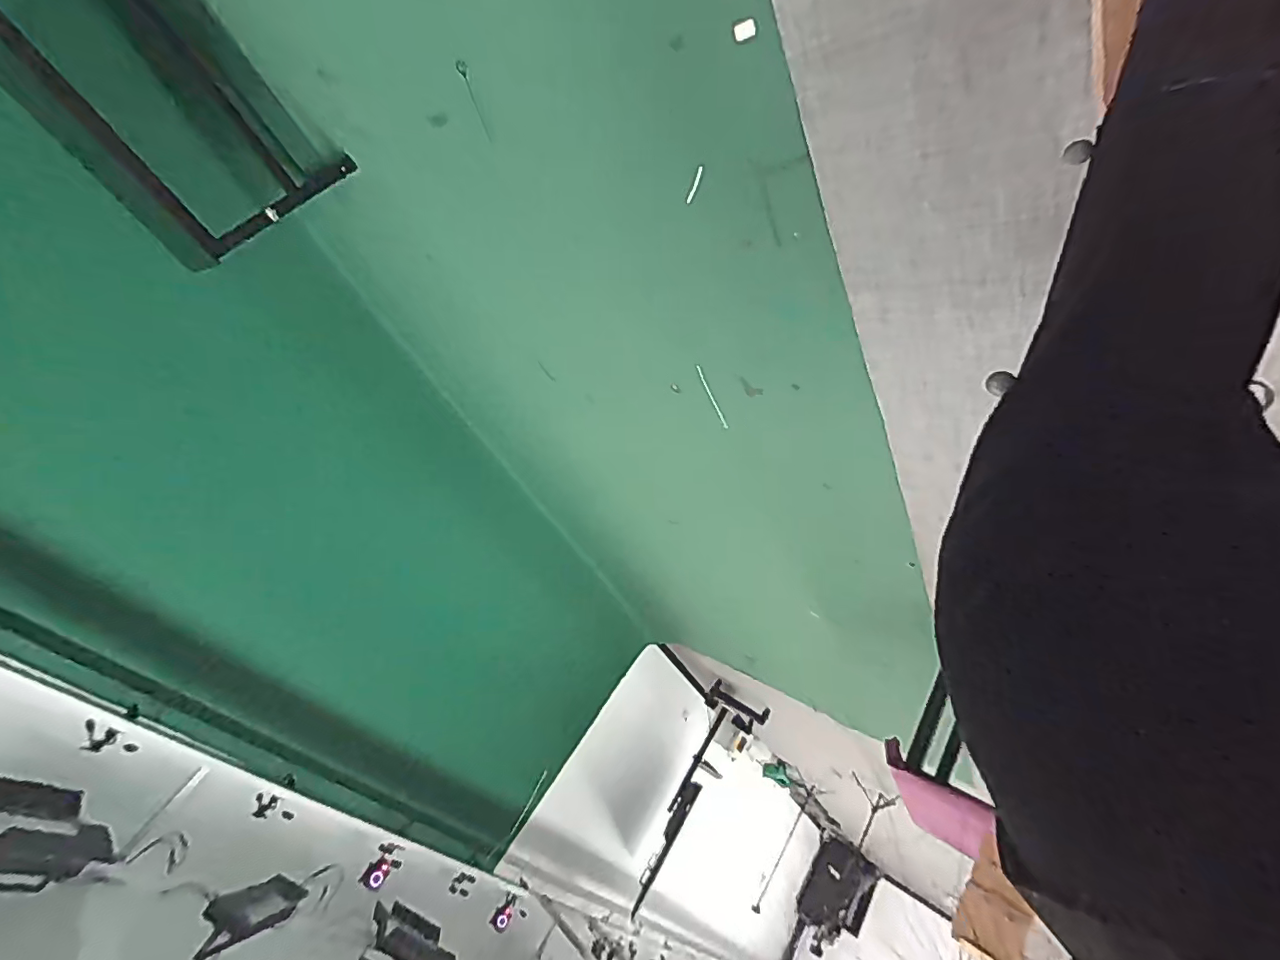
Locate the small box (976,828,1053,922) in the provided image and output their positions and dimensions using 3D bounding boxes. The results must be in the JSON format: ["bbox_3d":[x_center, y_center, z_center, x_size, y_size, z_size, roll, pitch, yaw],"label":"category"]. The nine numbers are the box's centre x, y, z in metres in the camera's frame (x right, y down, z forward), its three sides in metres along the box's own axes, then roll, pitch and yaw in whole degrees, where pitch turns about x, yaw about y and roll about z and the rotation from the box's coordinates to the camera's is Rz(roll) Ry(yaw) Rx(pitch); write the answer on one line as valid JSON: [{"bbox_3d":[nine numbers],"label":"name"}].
[{"bbox_3d":[1.195,1.253,1.724,0.168,0.176,0.179,13,148,44],"label":"small box"}]

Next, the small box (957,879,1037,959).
[{"bbox_3d":[1.099,1.370,1.661,0.168,0.176,0.179,13,148,46],"label":"small box"}]
